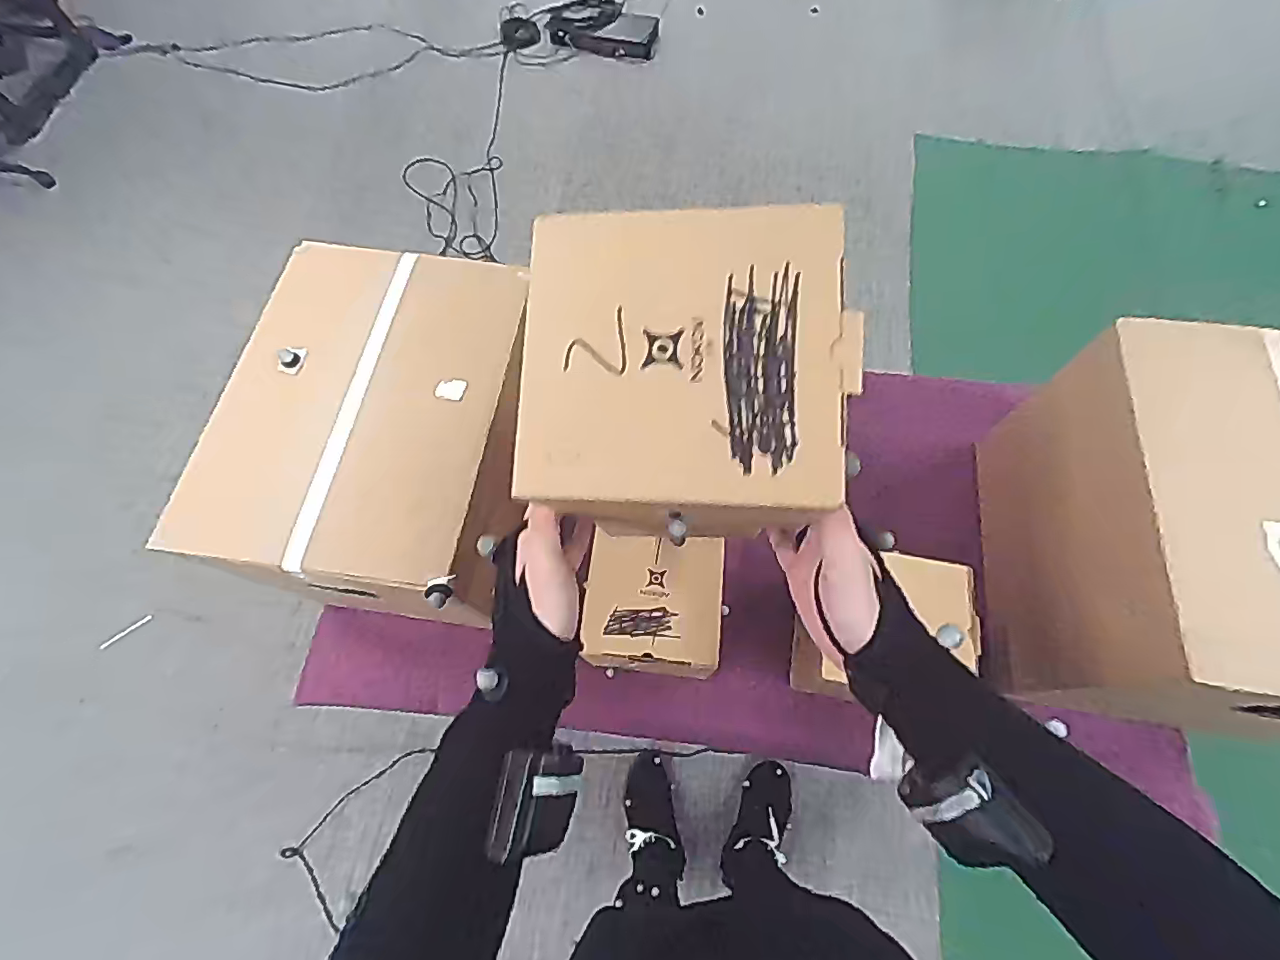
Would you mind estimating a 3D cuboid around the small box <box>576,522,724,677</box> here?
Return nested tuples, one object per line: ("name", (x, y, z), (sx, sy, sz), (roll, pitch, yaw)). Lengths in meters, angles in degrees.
("small box", (0.018, 0.160, 0.723), (0.168, 0.176, 0.179), (6, 66, 4))

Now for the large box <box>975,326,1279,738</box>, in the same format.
("large box", (0.663, 0.080, 0.668), (0.320, 0.320, 0.408), (8, 68, 6))

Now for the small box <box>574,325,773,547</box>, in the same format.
("small box", (0.037, -0.033, 0.536), (0.168, 0.176, 0.179), (1, 76, 6))
